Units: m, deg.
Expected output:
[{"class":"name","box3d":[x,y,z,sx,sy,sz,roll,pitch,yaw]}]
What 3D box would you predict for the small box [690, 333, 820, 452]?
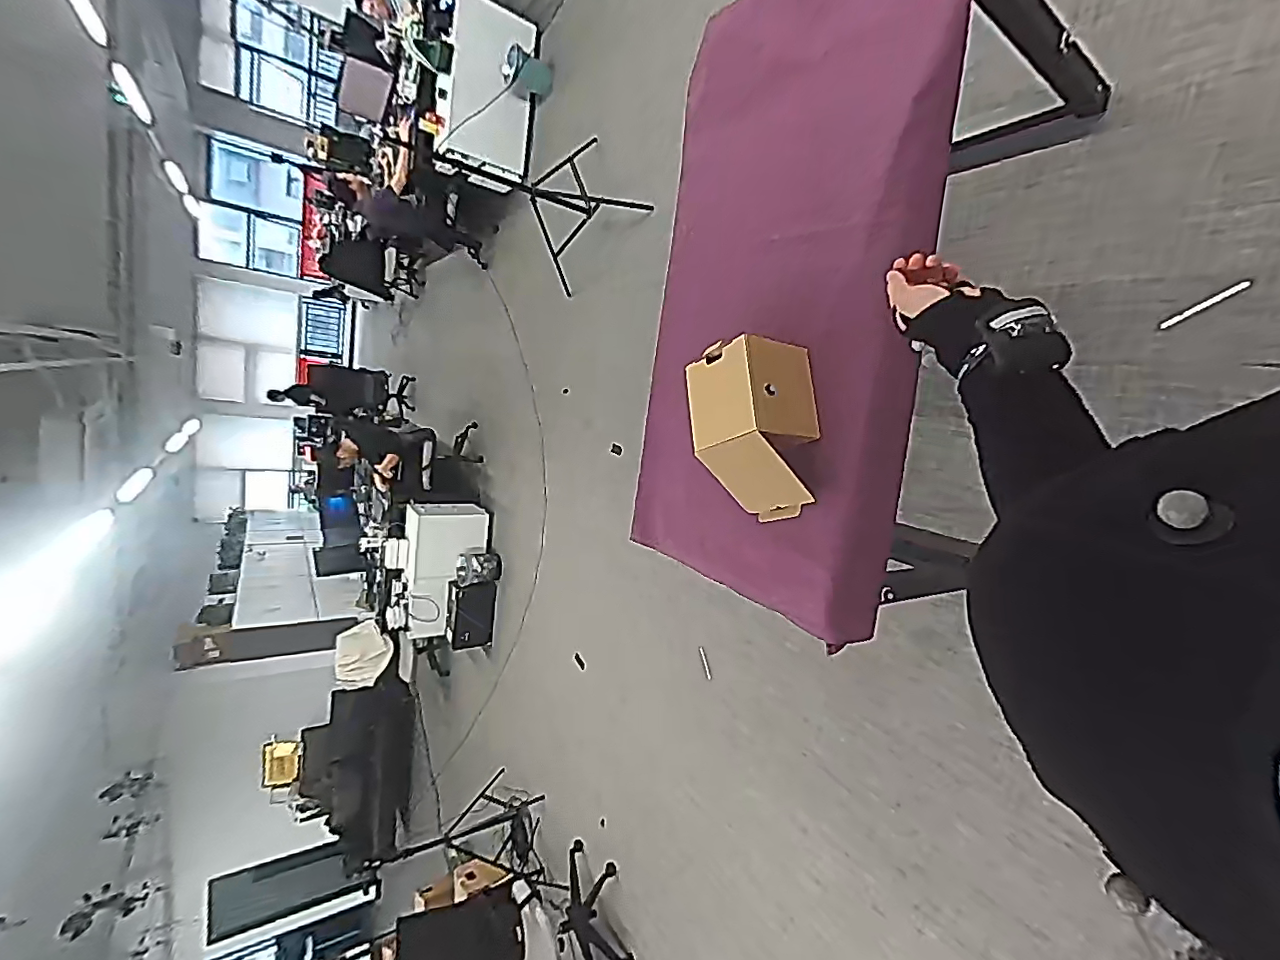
[{"class":"small box","box3d":[0.217,-0.153,1.016,0.168,0.176,0.179,-19,73,54]}]
